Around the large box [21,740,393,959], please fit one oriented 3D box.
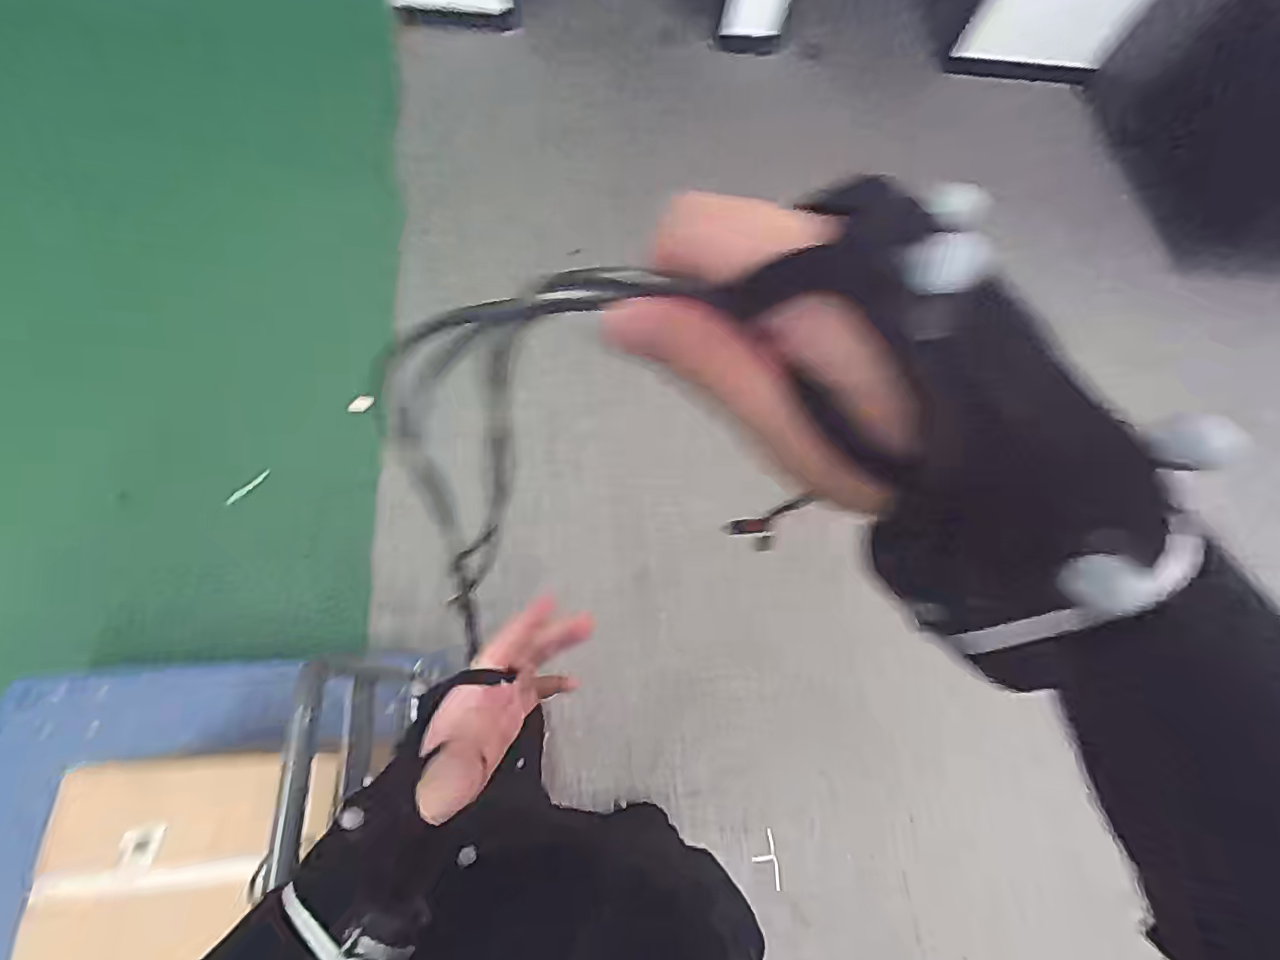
[{"bbox_3d":[-0.698,0.657,0.955,0.408,0.320,0.320,0,68,-8],"label":"large box"}]
